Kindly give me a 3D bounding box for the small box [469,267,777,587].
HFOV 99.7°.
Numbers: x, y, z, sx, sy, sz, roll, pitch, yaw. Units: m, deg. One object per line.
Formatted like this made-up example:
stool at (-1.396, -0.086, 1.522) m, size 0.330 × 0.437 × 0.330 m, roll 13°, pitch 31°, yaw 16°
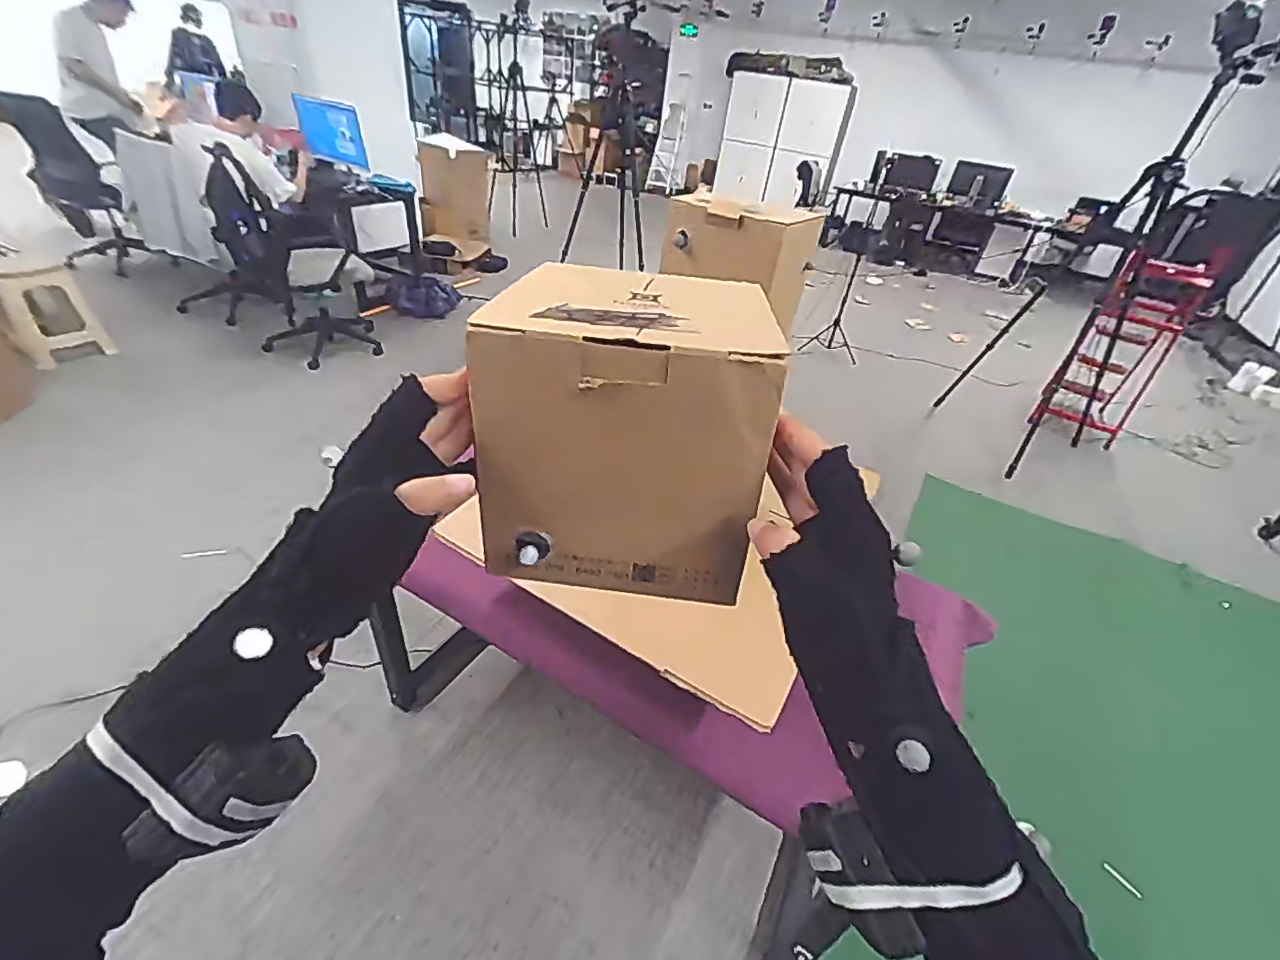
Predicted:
small box at (-0.006, -0.045, 0.390) m, size 0.168 × 0.176 × 0.179 m, roll 7°, pitch 31°, yaw 2°
